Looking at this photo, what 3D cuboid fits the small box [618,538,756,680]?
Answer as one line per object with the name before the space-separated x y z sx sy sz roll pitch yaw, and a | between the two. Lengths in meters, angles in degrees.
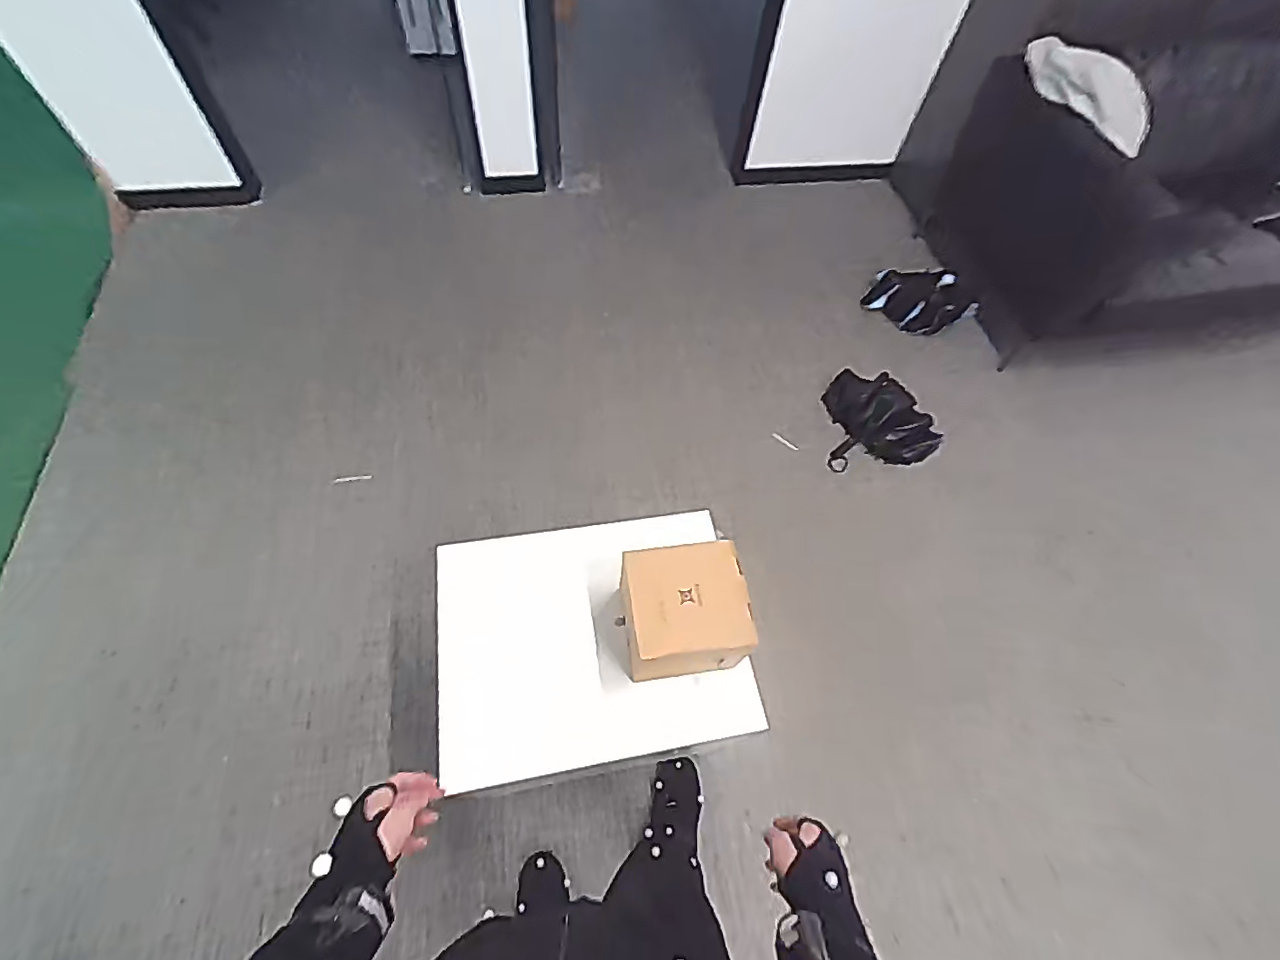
small box | 0.062 0.208 0.856 0.179 0.176 0.168 -7 60 -7
